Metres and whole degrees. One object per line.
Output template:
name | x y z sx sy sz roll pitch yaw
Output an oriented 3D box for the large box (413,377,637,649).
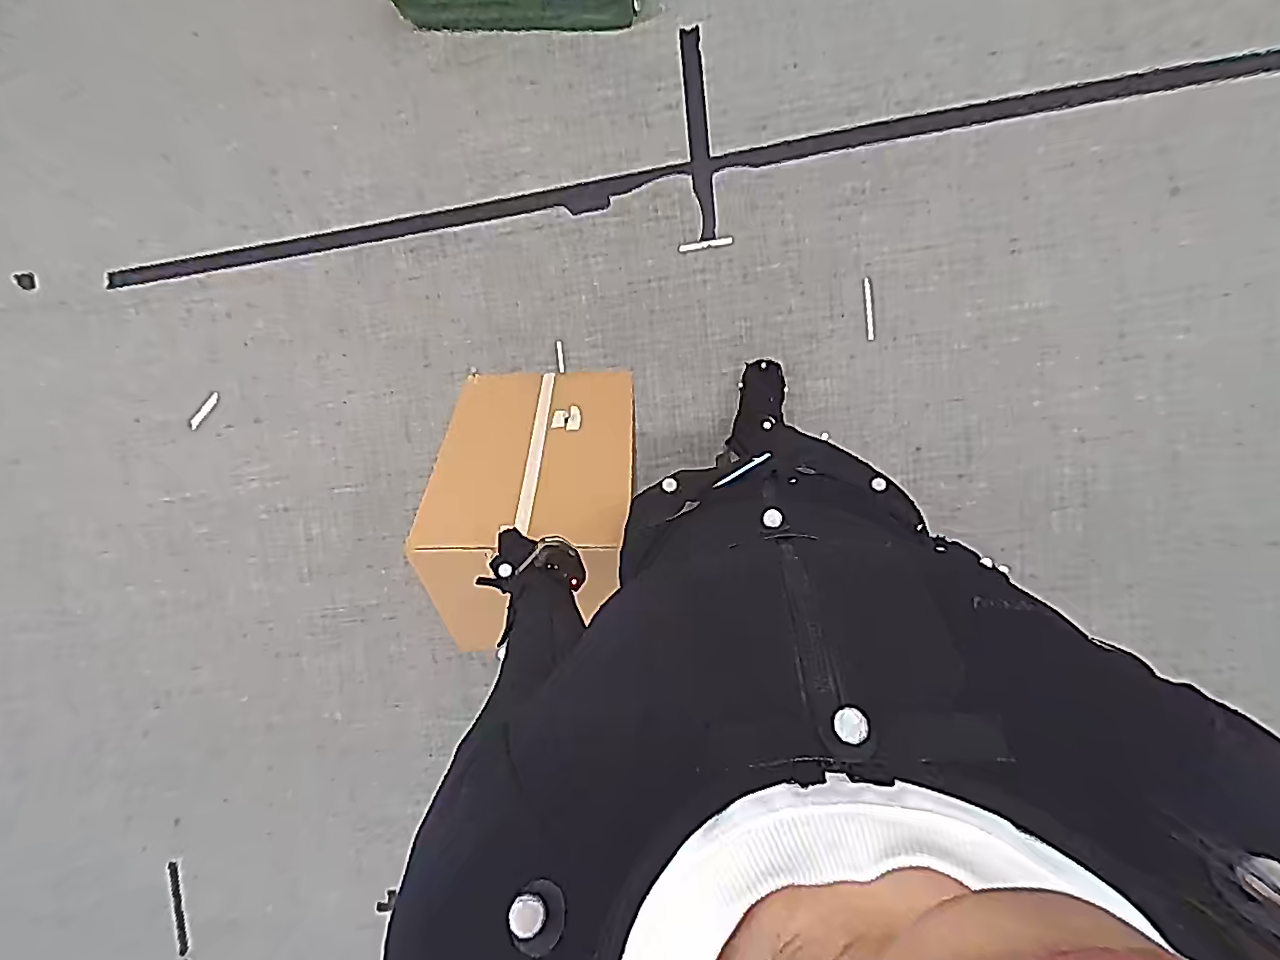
large box | -0.168 0.057 1.000 0.320 0.408 0.320 0 136 1
